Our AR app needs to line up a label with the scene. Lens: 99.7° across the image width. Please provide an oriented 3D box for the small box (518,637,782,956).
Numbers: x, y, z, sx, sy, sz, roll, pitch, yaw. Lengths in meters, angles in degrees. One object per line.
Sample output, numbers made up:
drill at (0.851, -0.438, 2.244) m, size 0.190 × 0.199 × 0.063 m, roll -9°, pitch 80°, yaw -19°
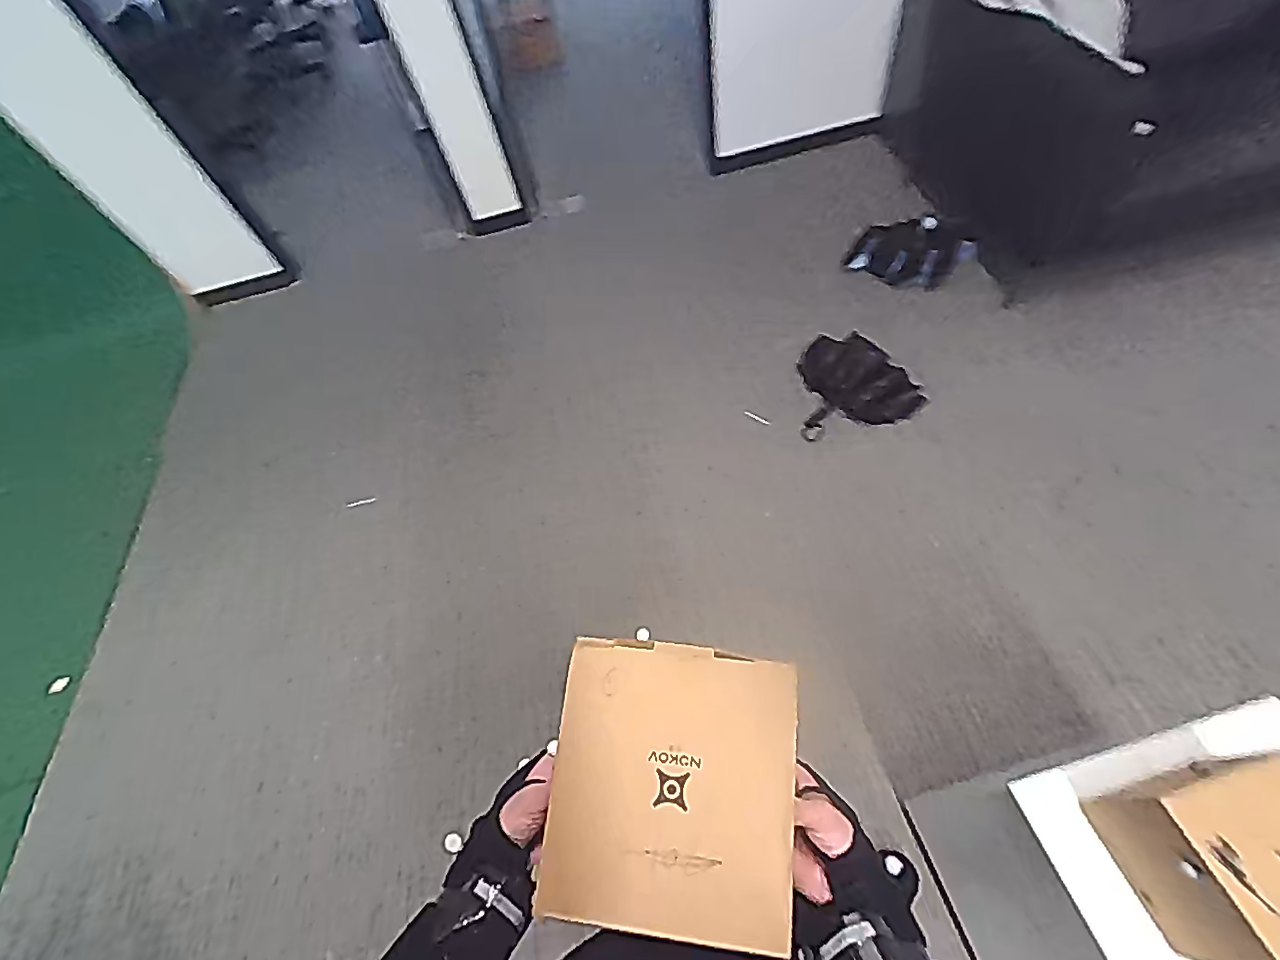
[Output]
small box at (0.016, 0.232, 0.444) m, size 0.168 × 0.176 × 0.179 m, roll 5°, pitch 72°, yaw 6°

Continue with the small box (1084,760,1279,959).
small box at (0.666, 0.425, 0.603) m, size 0.179 × 0.176 × 0.168 m, roll -18°, pitch 57°, yaw -2°
